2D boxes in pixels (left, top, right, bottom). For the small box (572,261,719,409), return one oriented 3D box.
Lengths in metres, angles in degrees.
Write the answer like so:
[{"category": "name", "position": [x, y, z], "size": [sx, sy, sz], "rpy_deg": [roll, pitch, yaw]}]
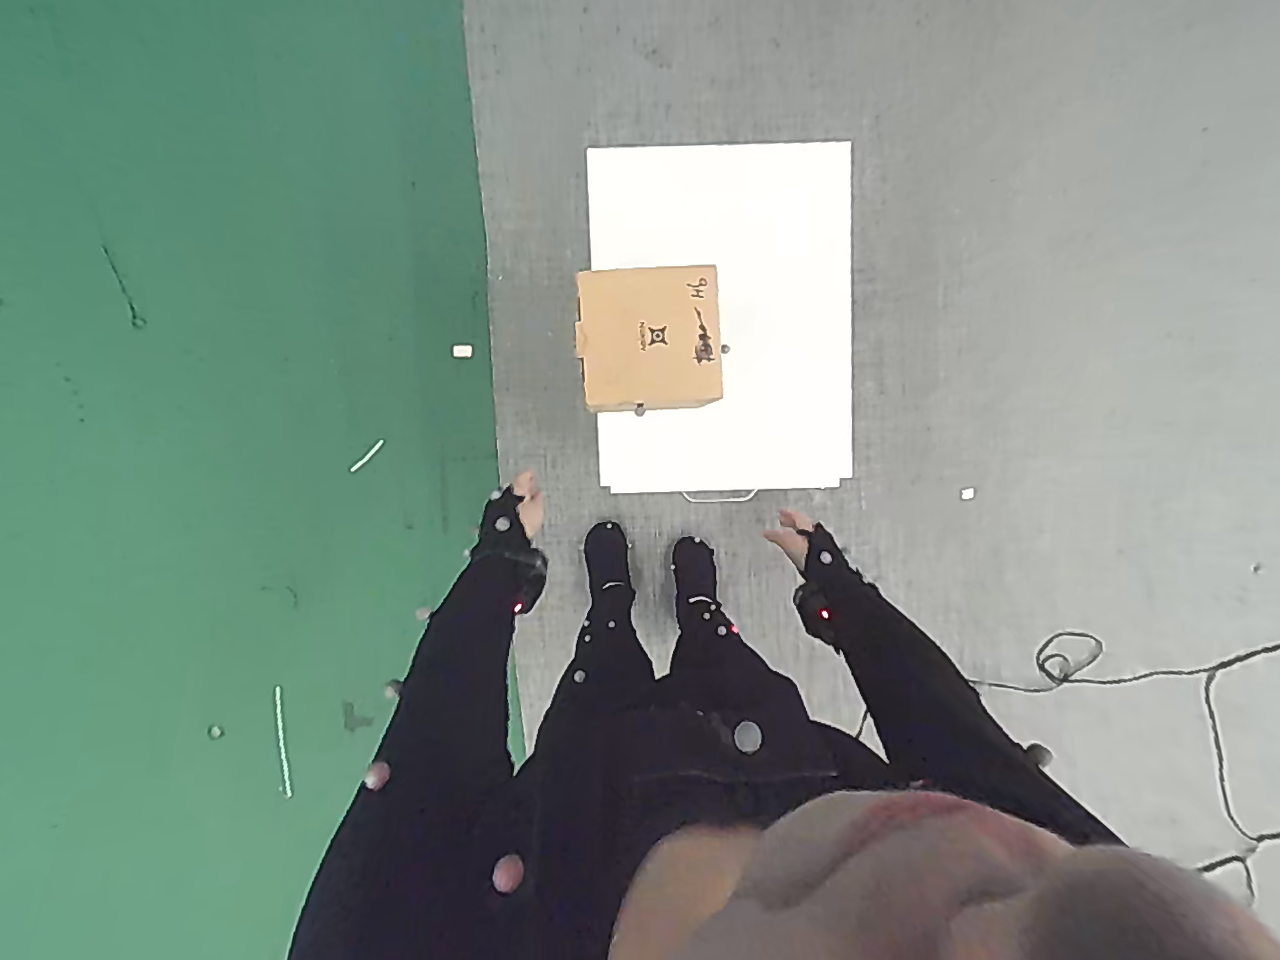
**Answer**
[{"category": "small box", "position": [0.006, -0.189, 0.746], "size": [0.179, 0.176, 0.168], "rpy_deg": [-4, 95, -2]}]
